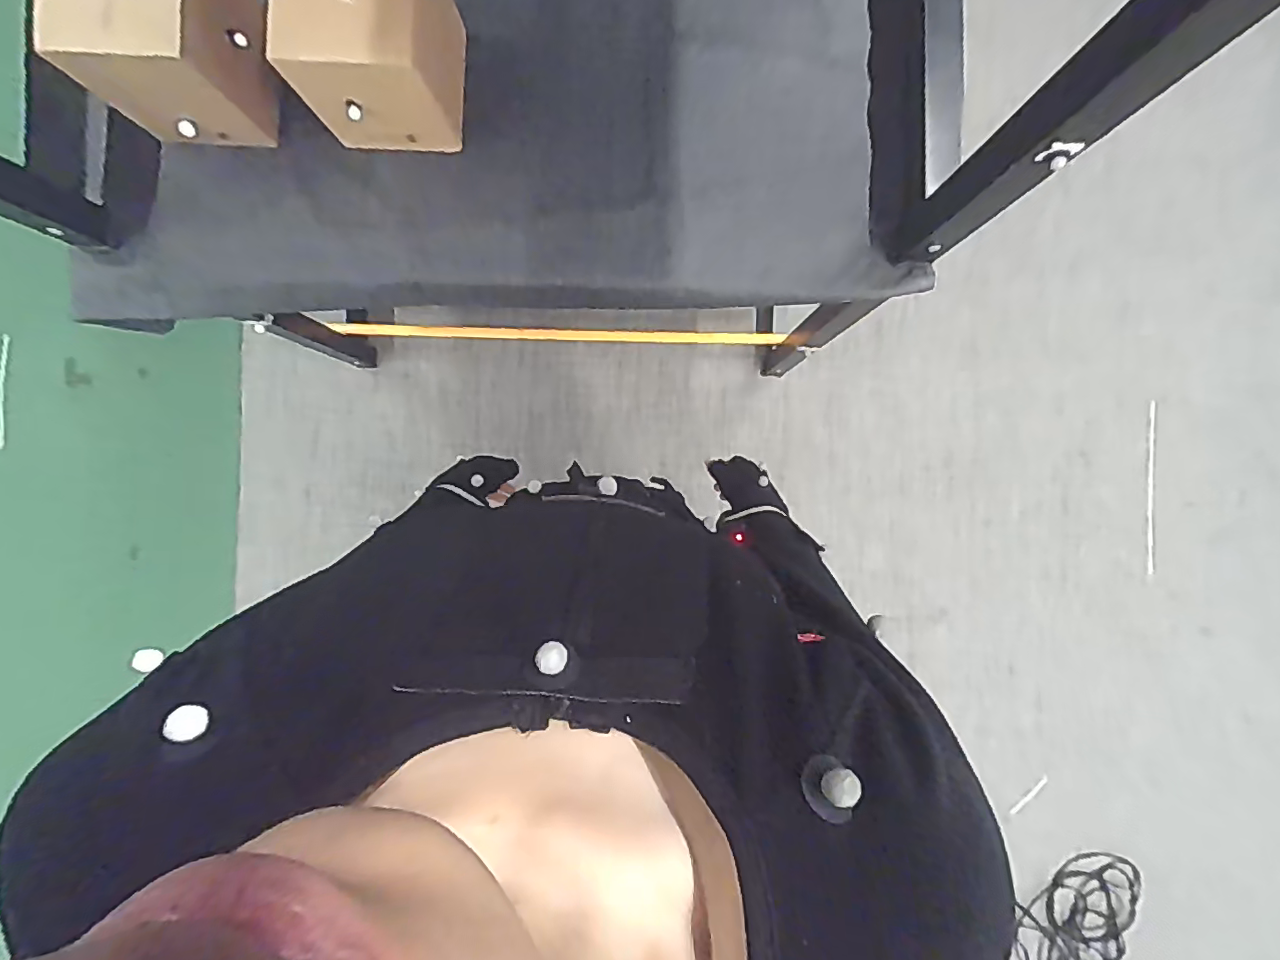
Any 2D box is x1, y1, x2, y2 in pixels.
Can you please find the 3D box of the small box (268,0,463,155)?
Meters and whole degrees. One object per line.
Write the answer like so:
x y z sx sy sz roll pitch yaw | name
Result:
-0.333 -0.546 0.687 0.168 0.176 0.179 2 89 -1 | small box

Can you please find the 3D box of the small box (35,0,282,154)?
-0.586 -0.552 0.682 0.168 0.176 0.179 2 90 -1 | small box
